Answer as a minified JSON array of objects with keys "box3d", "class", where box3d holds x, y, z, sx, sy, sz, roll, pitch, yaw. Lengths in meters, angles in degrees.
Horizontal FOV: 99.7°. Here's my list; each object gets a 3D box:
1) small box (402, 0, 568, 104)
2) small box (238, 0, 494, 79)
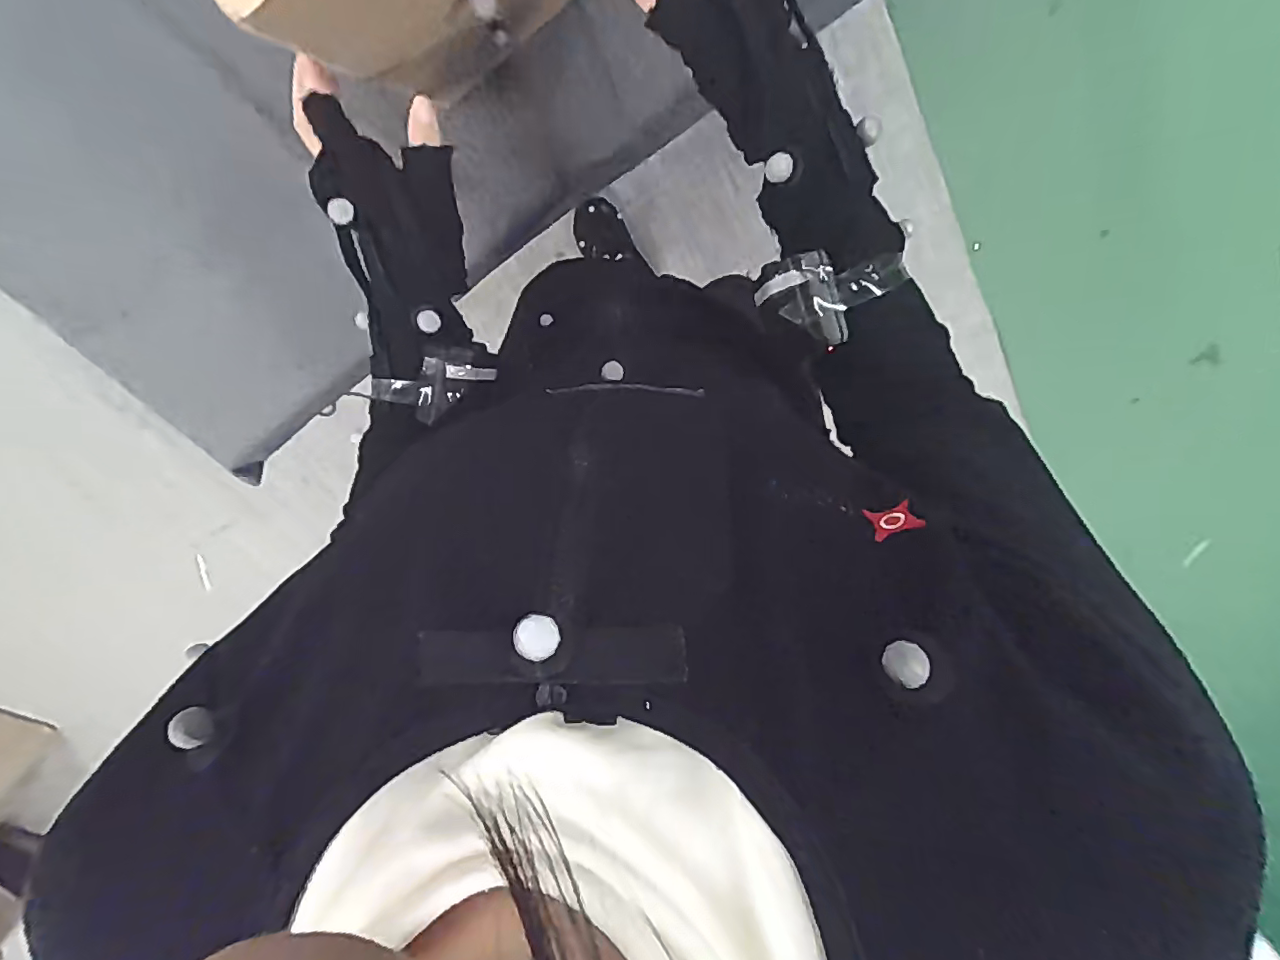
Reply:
[{"box3d":[-0.146,-0.414,0.387,0.179,0.176,0.168,-35,115,14],"class":"small box"},{"box3d":[-0.137,-0.331,0.246,0.179,0.176,0.168,-31,115,13],"class":"small box"}]
